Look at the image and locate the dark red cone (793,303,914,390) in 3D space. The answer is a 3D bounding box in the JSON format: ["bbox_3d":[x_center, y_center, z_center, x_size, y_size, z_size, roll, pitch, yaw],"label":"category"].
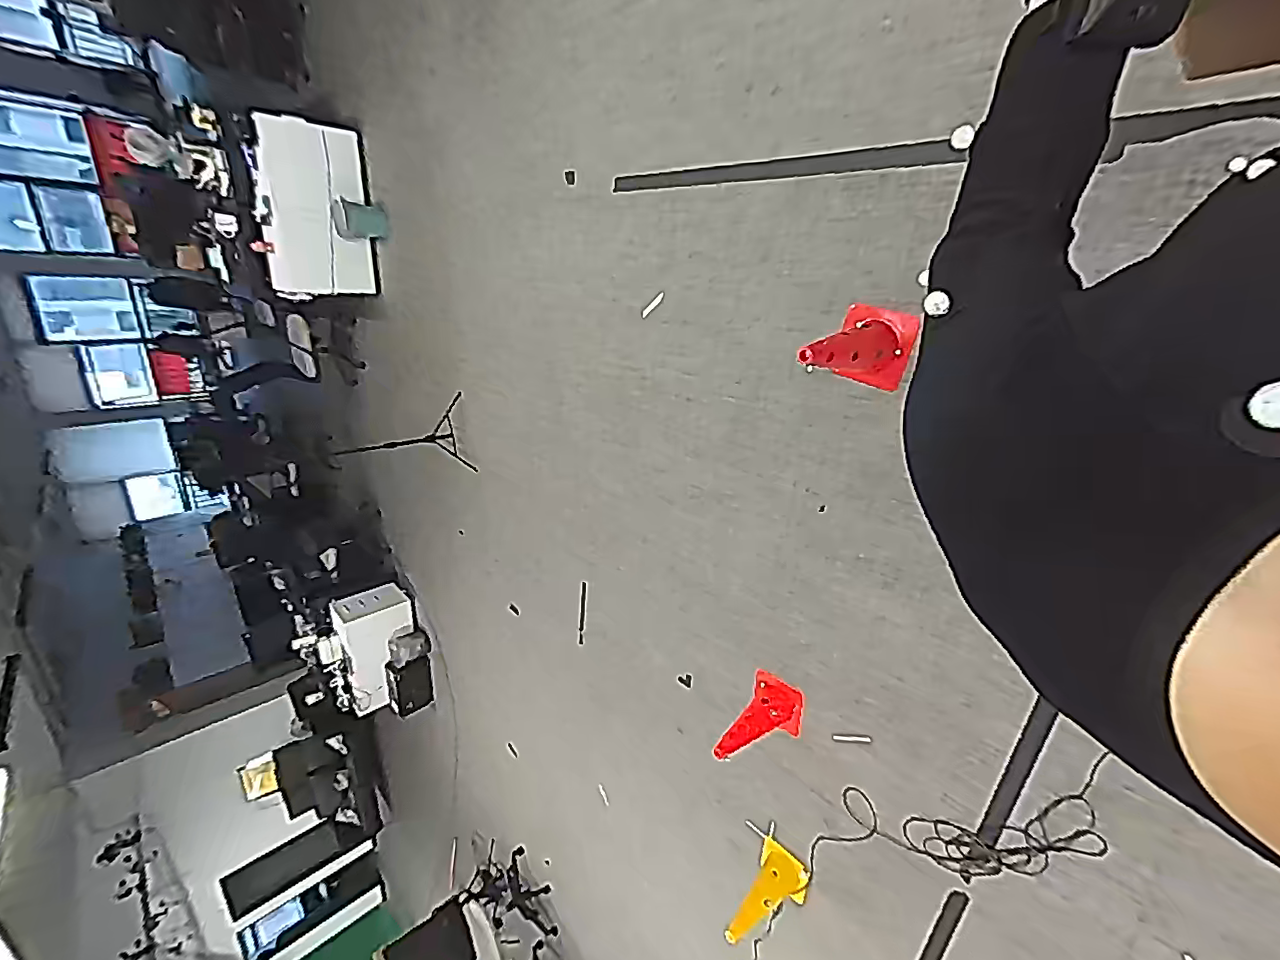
[{"bbox_3d":[0.492,-0.323,1.332,0.201,0.394,0.202,30,123,37],"label":"dark red cone"}]

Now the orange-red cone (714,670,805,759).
[{"bbox_3d":[0.384,0.855,1.872,0.198,0.360,0.199,22,119,43],"label":"orange-red cone"}]

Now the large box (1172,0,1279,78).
[{"bbox_3d":[0.550,-0.444,0.240,0.408,0.320,0.320,17,119,41],"label":"large box"}]
